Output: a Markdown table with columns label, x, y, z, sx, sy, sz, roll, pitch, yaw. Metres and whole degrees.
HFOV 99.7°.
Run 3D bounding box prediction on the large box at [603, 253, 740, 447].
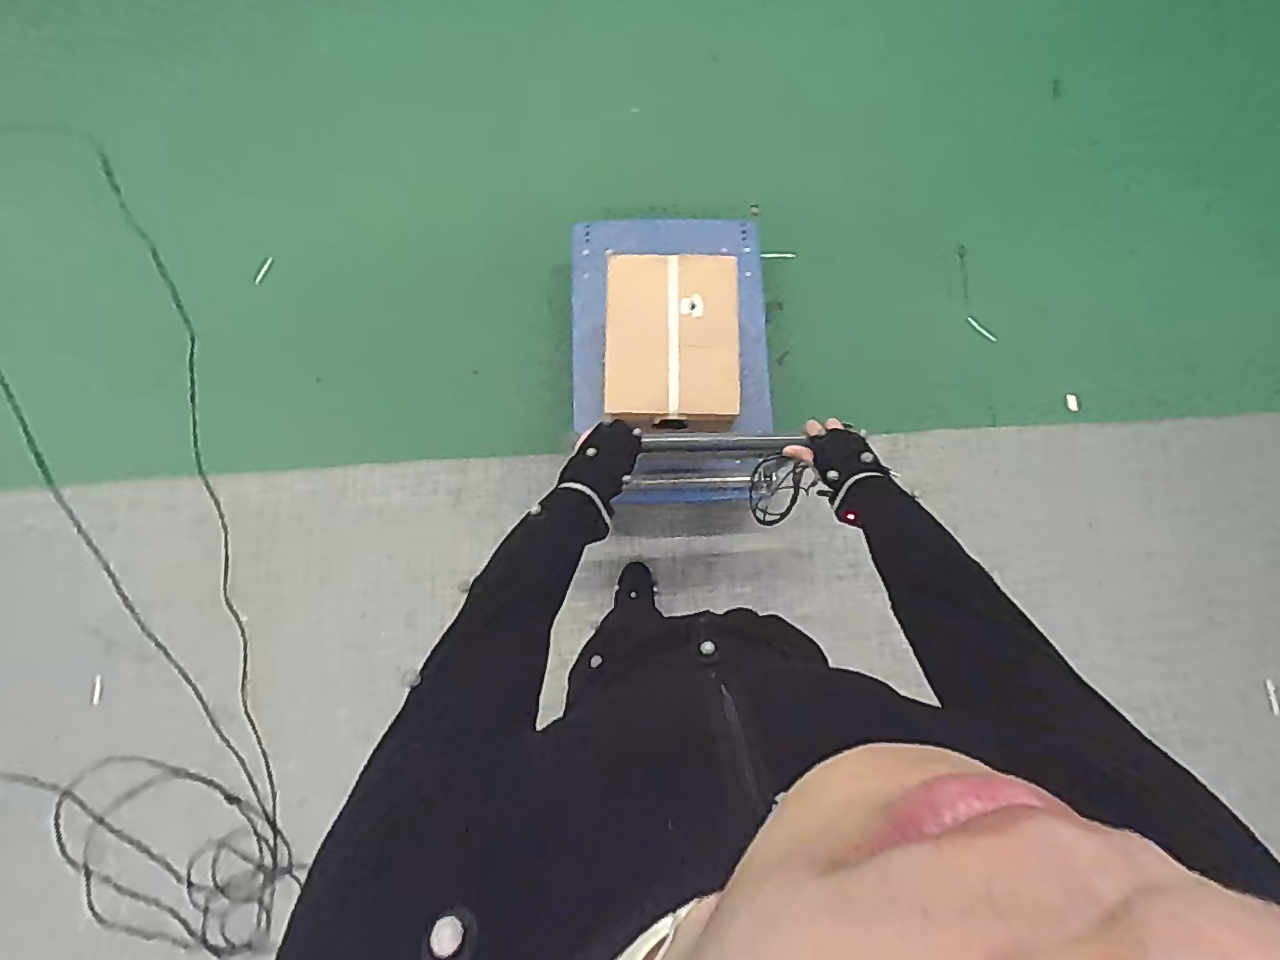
| label | x | y | z | sx | sy | sz | roll | pitch | yaw |
| --- | --- | --- | --- | --- | --- | --- | --- | --- | --- |
| large box | 0.071 | -0.314 | 1.399 | 0.320 | 0.320 | 0.408 | 1 | 78 | -2 |
